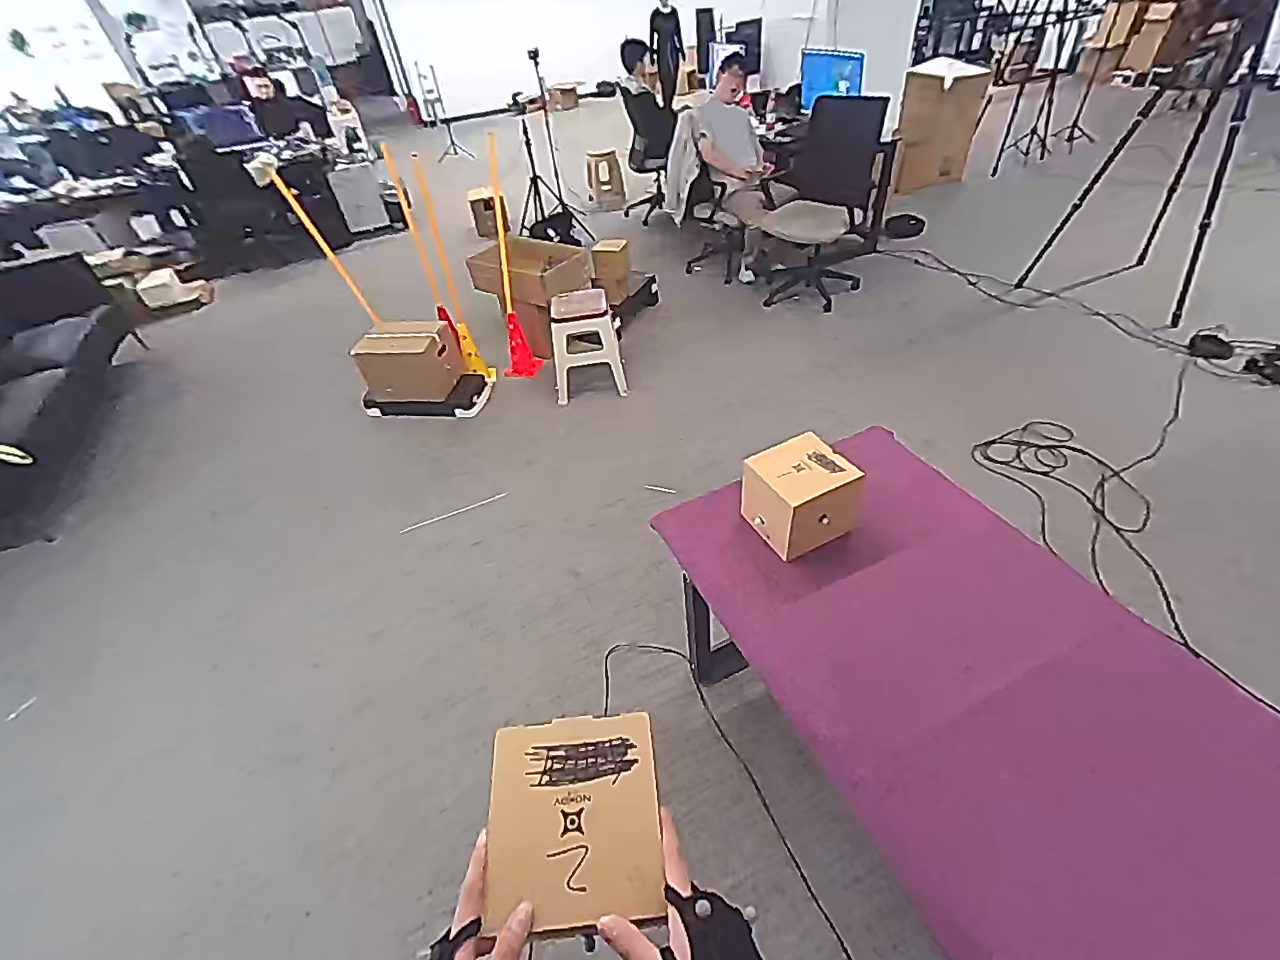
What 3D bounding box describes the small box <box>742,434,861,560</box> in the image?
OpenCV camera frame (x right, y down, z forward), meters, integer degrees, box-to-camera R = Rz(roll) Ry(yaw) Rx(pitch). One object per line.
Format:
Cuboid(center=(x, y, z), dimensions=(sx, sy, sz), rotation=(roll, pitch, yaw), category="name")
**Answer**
Cuboid(center=(0.330, 0.035, 1.142), dimensions=(0.179, 0.176, 0.168), rotation=(-22, 44, -16), category="small box")
